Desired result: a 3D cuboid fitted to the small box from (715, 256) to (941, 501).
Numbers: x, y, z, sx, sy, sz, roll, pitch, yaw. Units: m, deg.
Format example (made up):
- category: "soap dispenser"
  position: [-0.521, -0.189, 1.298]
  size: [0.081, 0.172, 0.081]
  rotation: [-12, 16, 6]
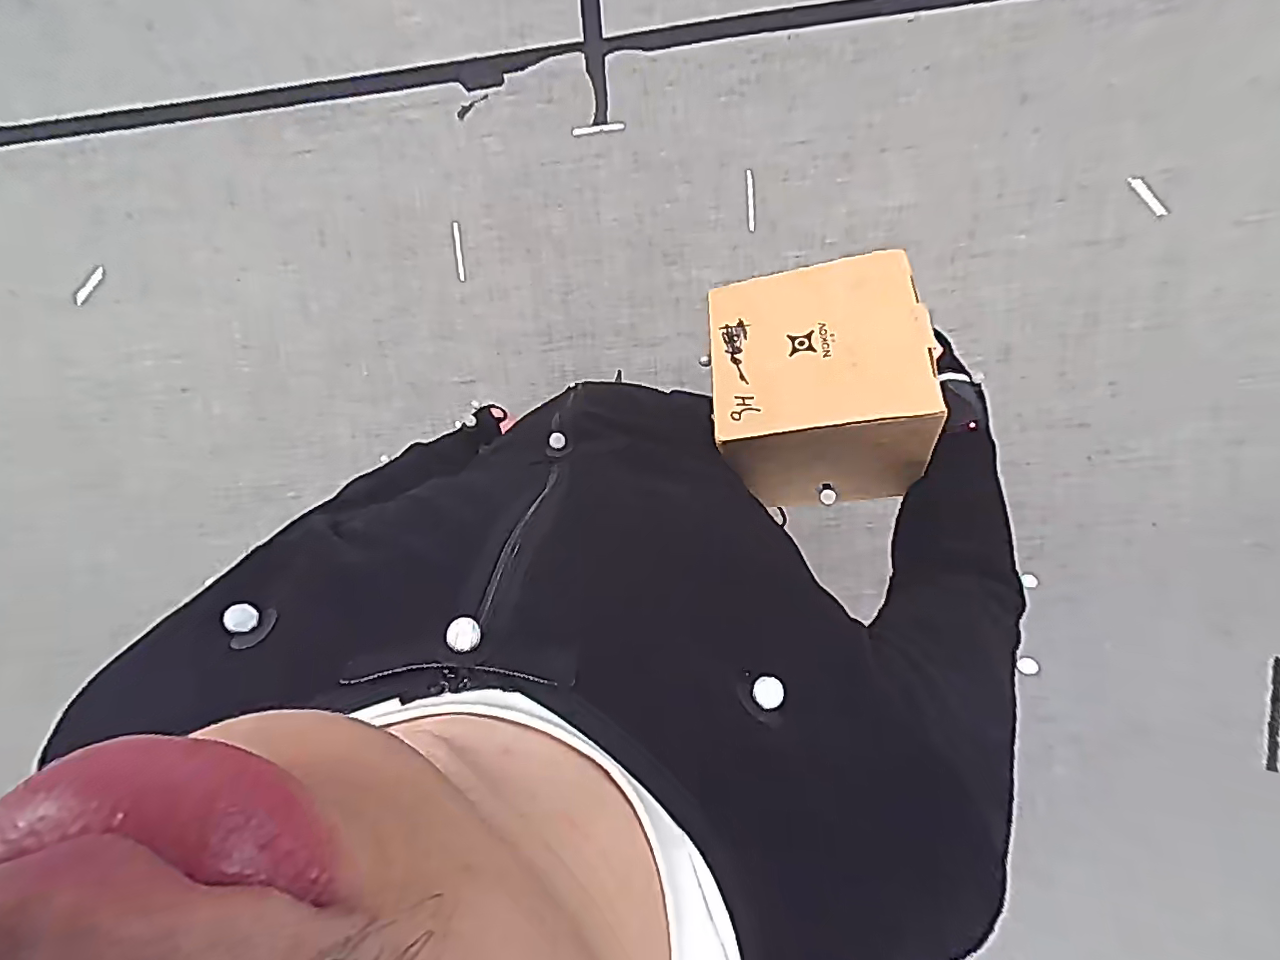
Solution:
- category: "small box"
  position: [0.175, -0.087, 0.542]
  size: [0.179, 0.176, 0.168]
  rotation: [-6, 65, 16]
